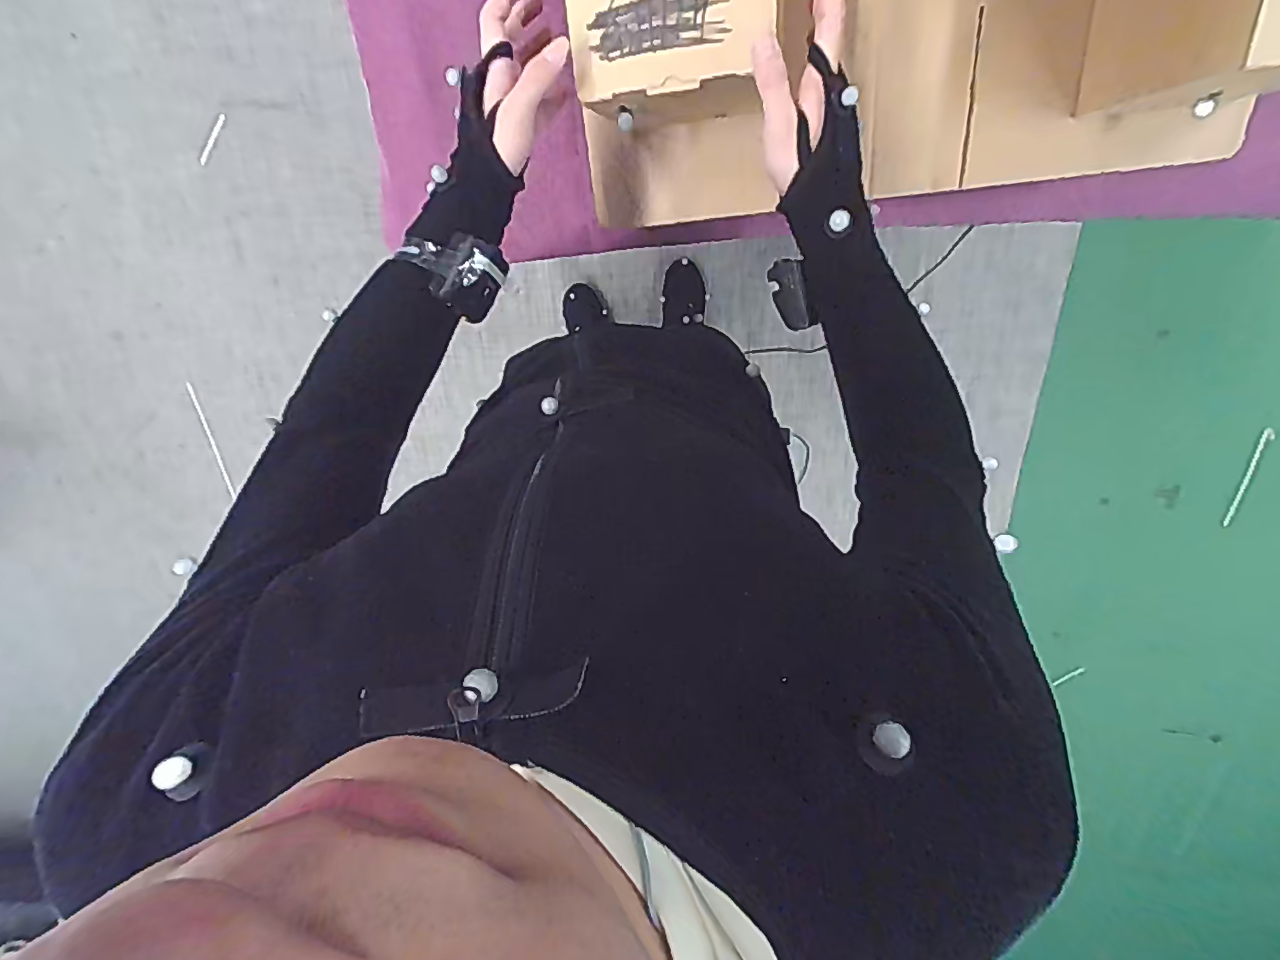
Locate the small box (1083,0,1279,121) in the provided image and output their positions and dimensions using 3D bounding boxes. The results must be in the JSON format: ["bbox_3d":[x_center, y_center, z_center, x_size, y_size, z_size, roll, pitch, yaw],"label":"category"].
[{"bbox_3d":[0.511,-0.416,0.436,0.168,0.176,0.179,-5,114,2],"label":"small box"}]
